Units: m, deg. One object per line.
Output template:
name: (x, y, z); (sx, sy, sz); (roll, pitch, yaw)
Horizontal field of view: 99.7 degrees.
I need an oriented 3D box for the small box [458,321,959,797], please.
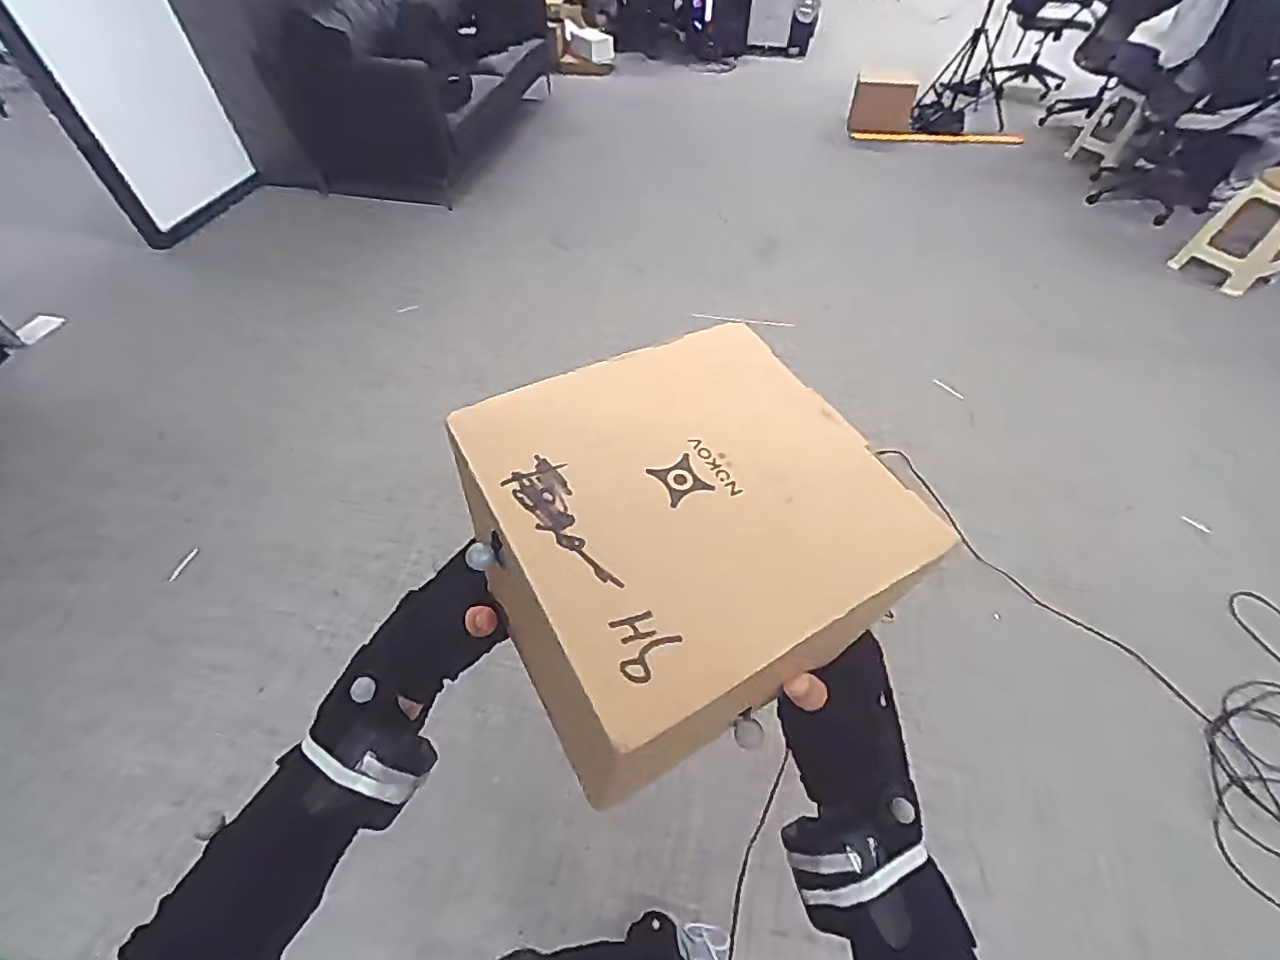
small box: (0.018, 0.044, 0.304); (0.179, 0.176, 0.168); (-22, 59, -23)
